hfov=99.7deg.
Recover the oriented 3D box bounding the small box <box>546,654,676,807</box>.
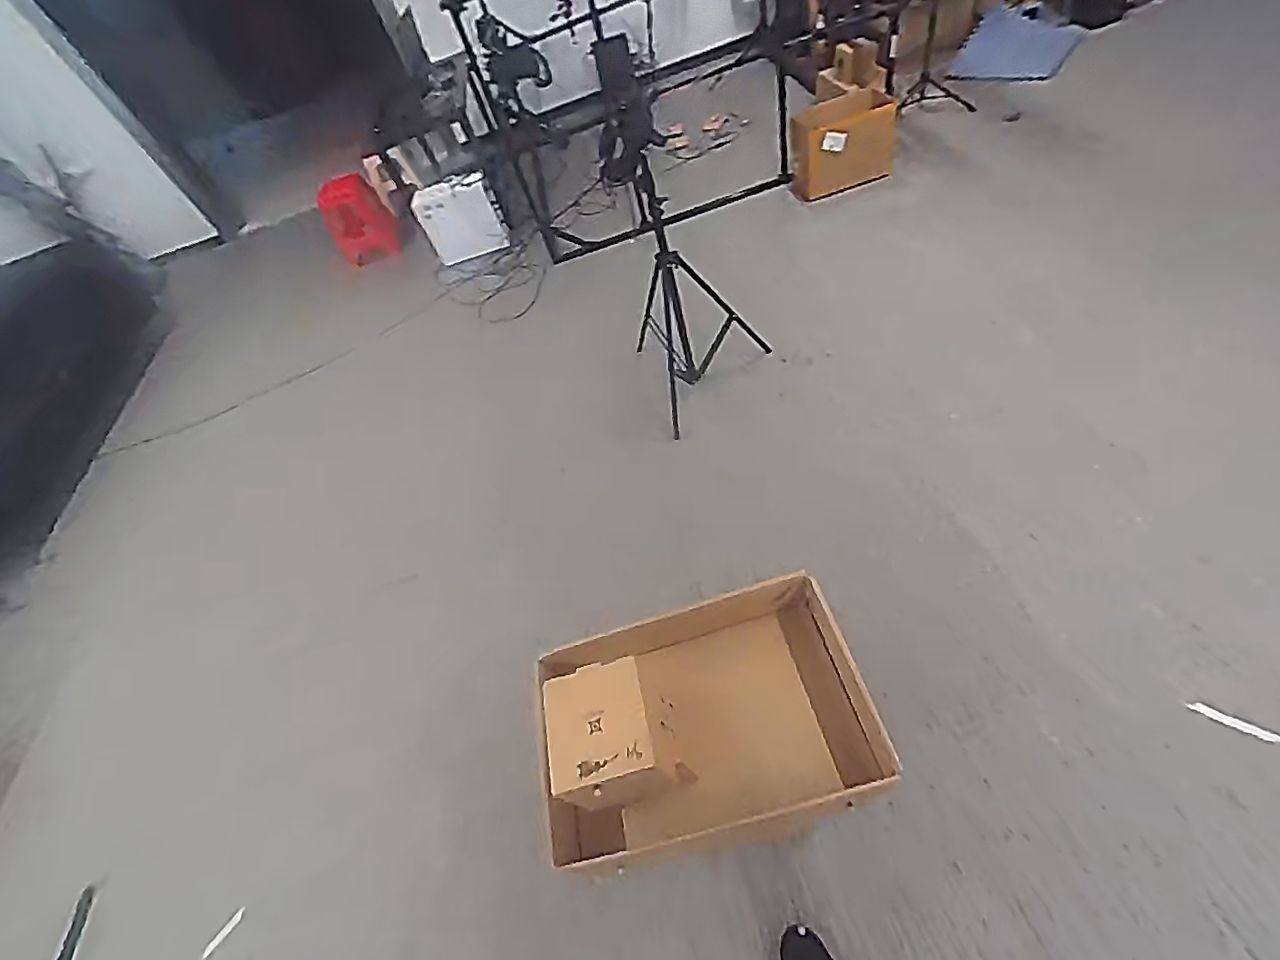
[{"bbox_3d":[-0.048,0.425,0.911,0.168,0.176,0.179,-18,49,5],"label":"small box"}]

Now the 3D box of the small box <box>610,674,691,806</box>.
[{"bbox_3d":[-0.009,0.507,1.048,0.179,0.176,0.168,-22,49,2],"label":"small box"}]
